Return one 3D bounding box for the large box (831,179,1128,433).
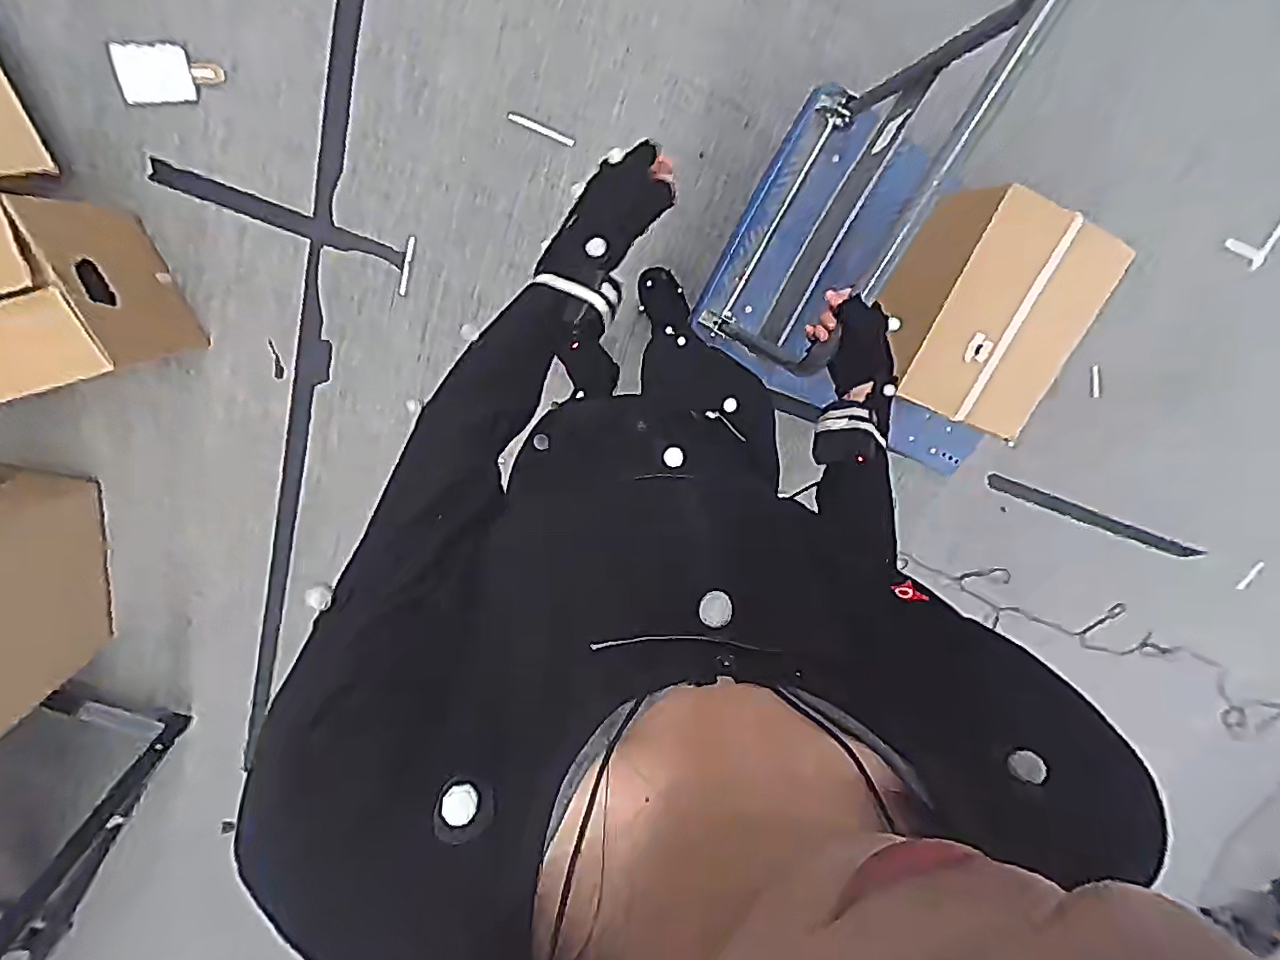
[{"bbox_3d":[0.692,-0.372,1.173,0.320,0.320,0.408,17,110,-14],"label":"large box"}]
